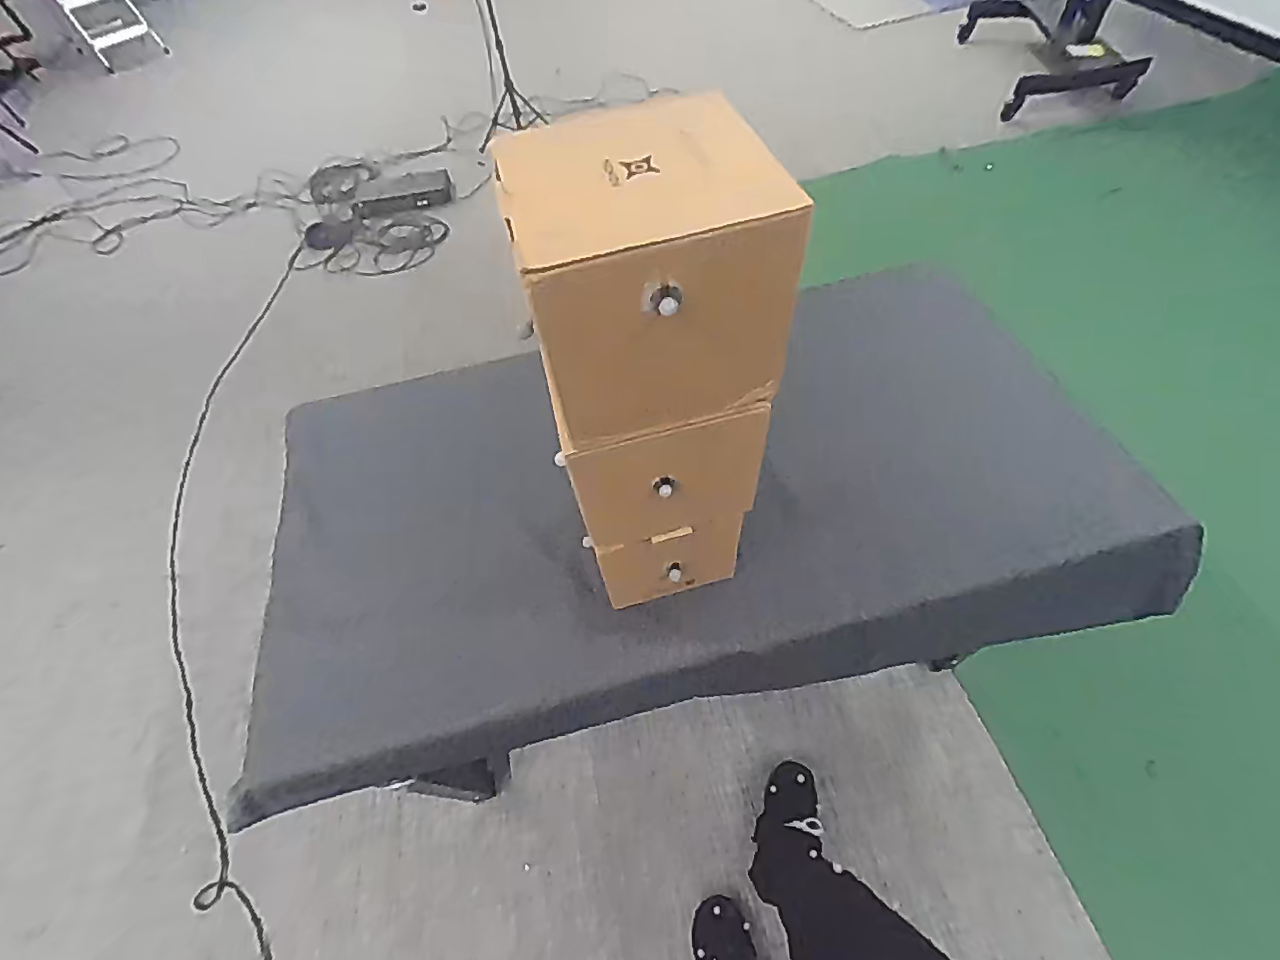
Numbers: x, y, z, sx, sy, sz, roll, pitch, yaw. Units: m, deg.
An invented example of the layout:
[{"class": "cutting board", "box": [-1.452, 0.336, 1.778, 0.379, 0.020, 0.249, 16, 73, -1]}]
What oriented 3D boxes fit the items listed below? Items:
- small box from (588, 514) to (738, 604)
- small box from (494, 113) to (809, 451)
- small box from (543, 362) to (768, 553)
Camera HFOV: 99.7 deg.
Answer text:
[{"class": "small box", "box": [0.015, 0.042, 0.685, 0.168, 0.176, 0.179, -15, 57, -5]}, {"class": "small box", "box": [0.003, -0.144, 0.417, 0.179, 0.176, 0.168, -14, 57, -6]}, {"class": "small box", "box": [0.011, -0.048, 0.548, 0.179, 0.176, 0.168, -14, 56, -3]}]
